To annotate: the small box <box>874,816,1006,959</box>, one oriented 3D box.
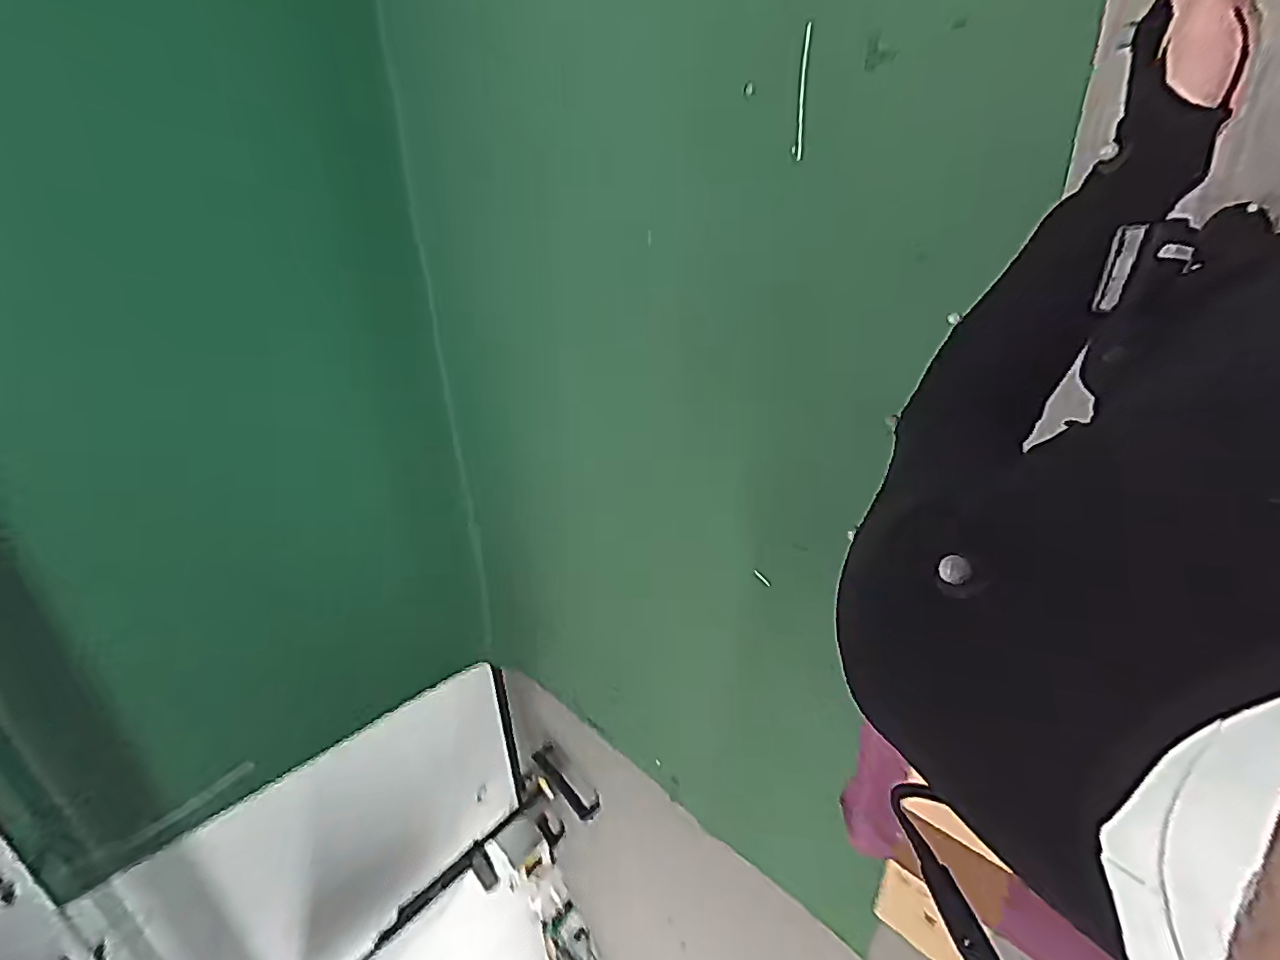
[{"bbox_3d":[0.562,0.765,1.010,0.168,0.176,0.179,20,121,39],"label":"small box"}]
